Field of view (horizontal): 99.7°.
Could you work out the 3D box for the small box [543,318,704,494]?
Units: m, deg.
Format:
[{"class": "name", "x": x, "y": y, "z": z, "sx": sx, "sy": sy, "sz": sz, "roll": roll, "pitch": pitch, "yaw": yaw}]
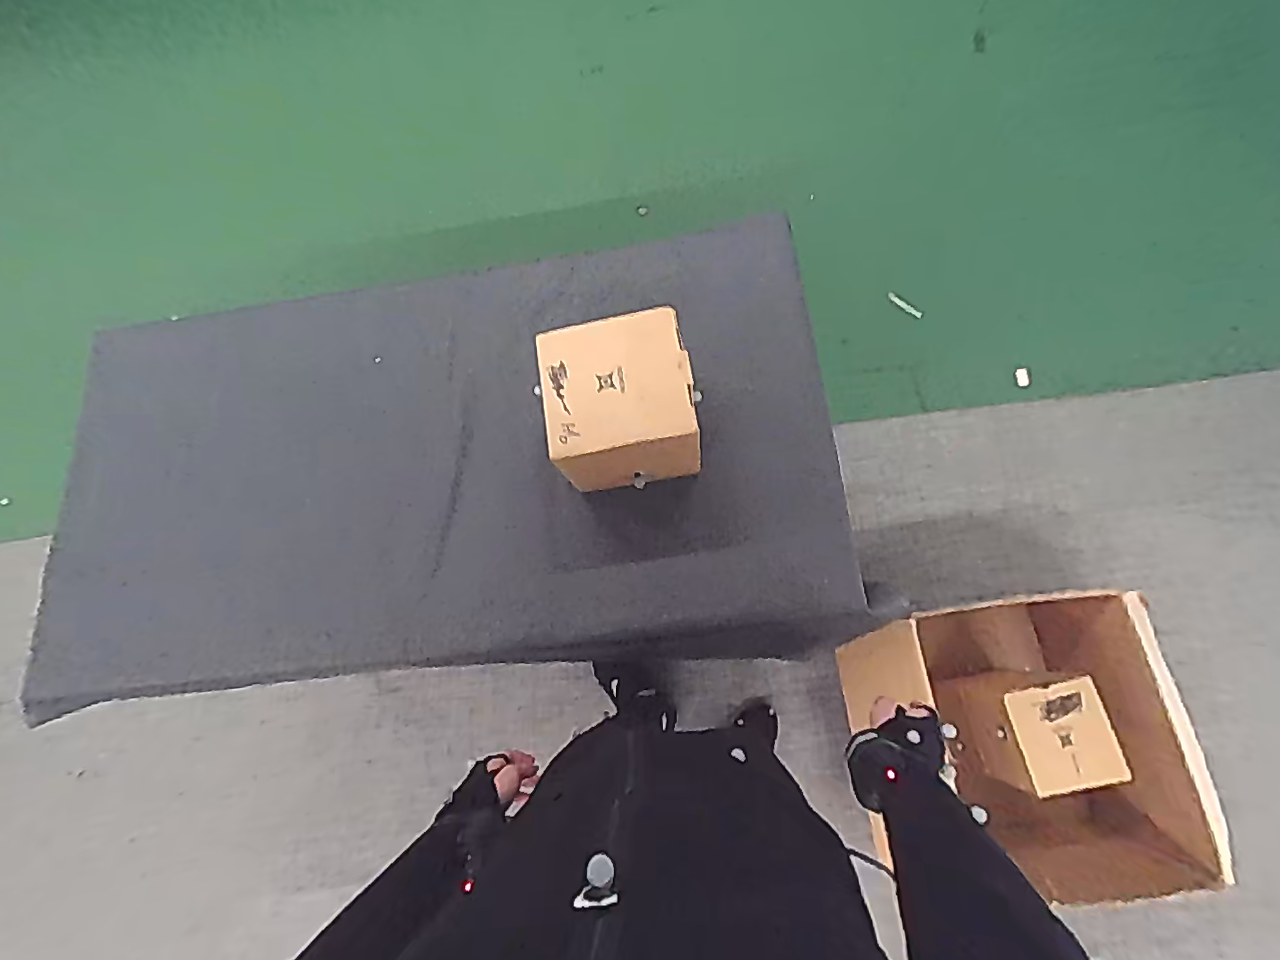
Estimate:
[{"class": "small box", "x": -0.016, "y": -0.089, "z": 0.733, "sx": 0.179, "sy": 0.176, "sz": 0.168, "roll": -13, "pitch": 75, "yaw": 4}]
